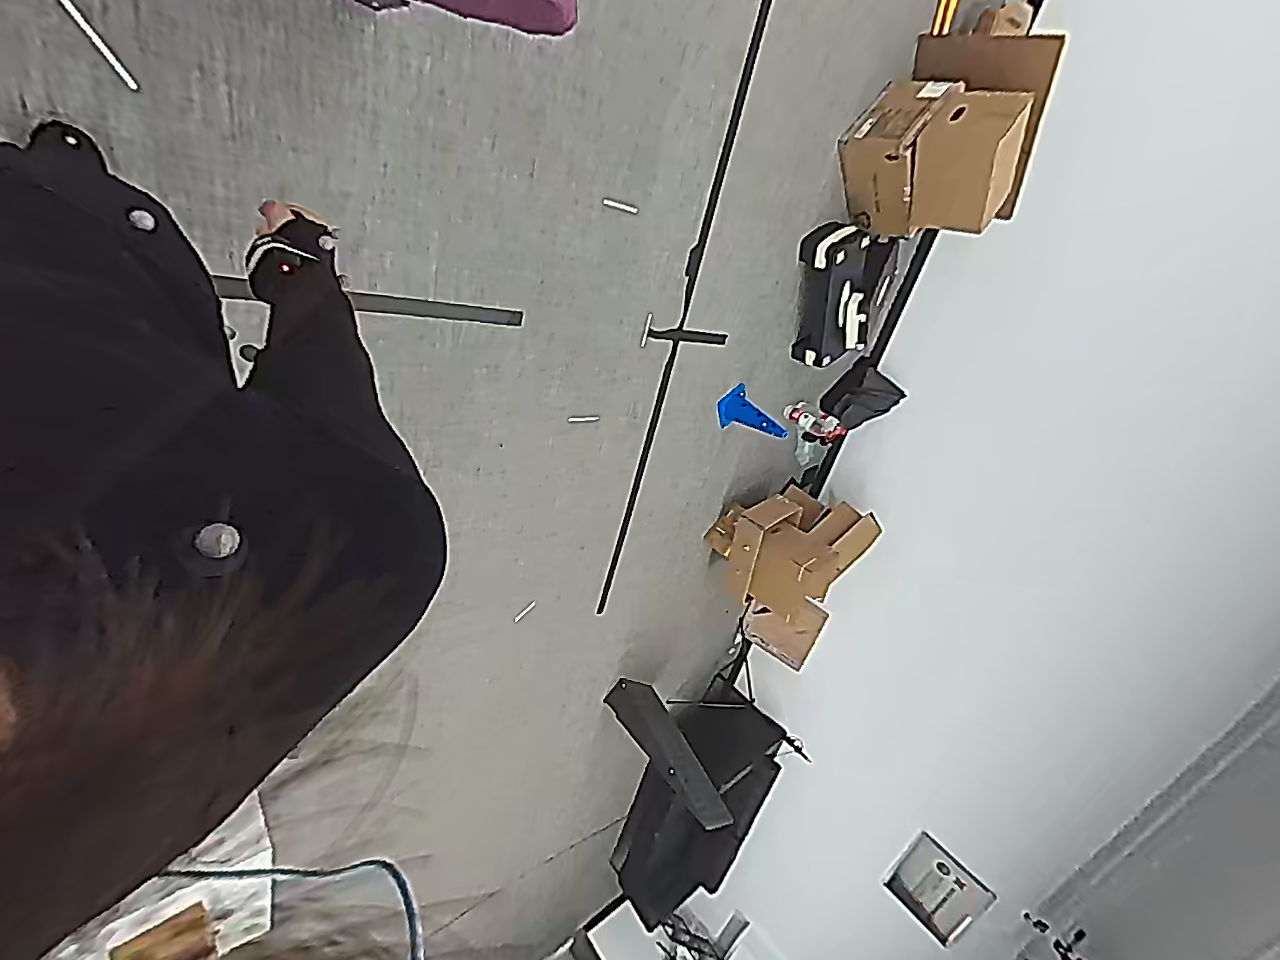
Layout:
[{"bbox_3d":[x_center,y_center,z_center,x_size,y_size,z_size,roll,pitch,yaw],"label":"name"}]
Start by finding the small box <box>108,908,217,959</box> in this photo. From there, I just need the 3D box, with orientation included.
[{"bbox_3d":[-1.130,1.186,1.292,0.179,0.176,0.168,-14,128,-39],"label":"small box"}]
